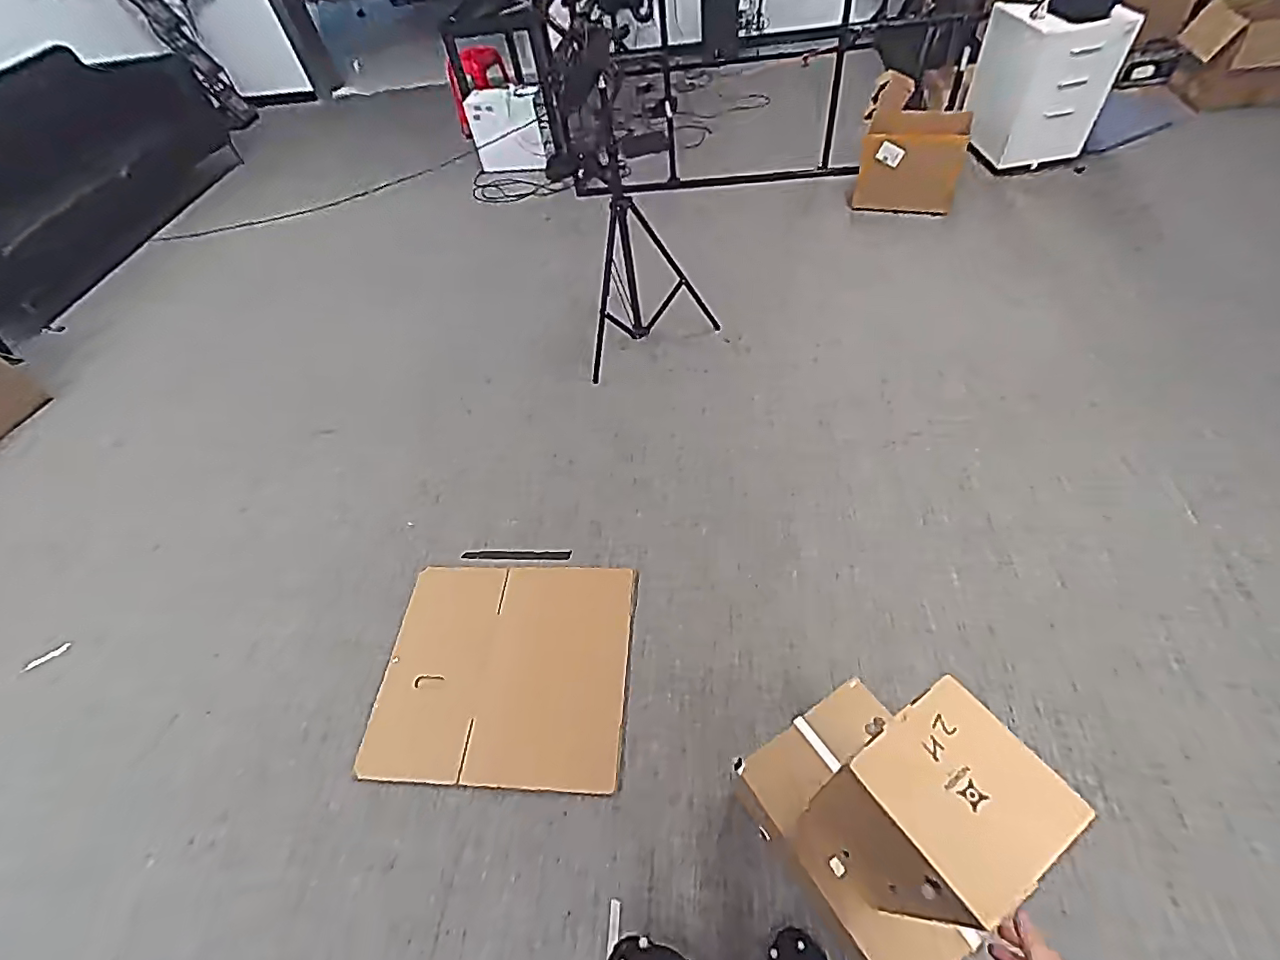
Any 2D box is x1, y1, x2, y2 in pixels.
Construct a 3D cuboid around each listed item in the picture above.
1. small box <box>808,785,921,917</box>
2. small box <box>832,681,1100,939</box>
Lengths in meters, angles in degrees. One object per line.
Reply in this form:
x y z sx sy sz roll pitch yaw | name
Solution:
0.397 0.566 0.883 0.168 0.176 0.179 -33 56 -14 | small box
0.351 0.371 0.621 0.168 0.176 0.179 -32 55 -15 | small box
